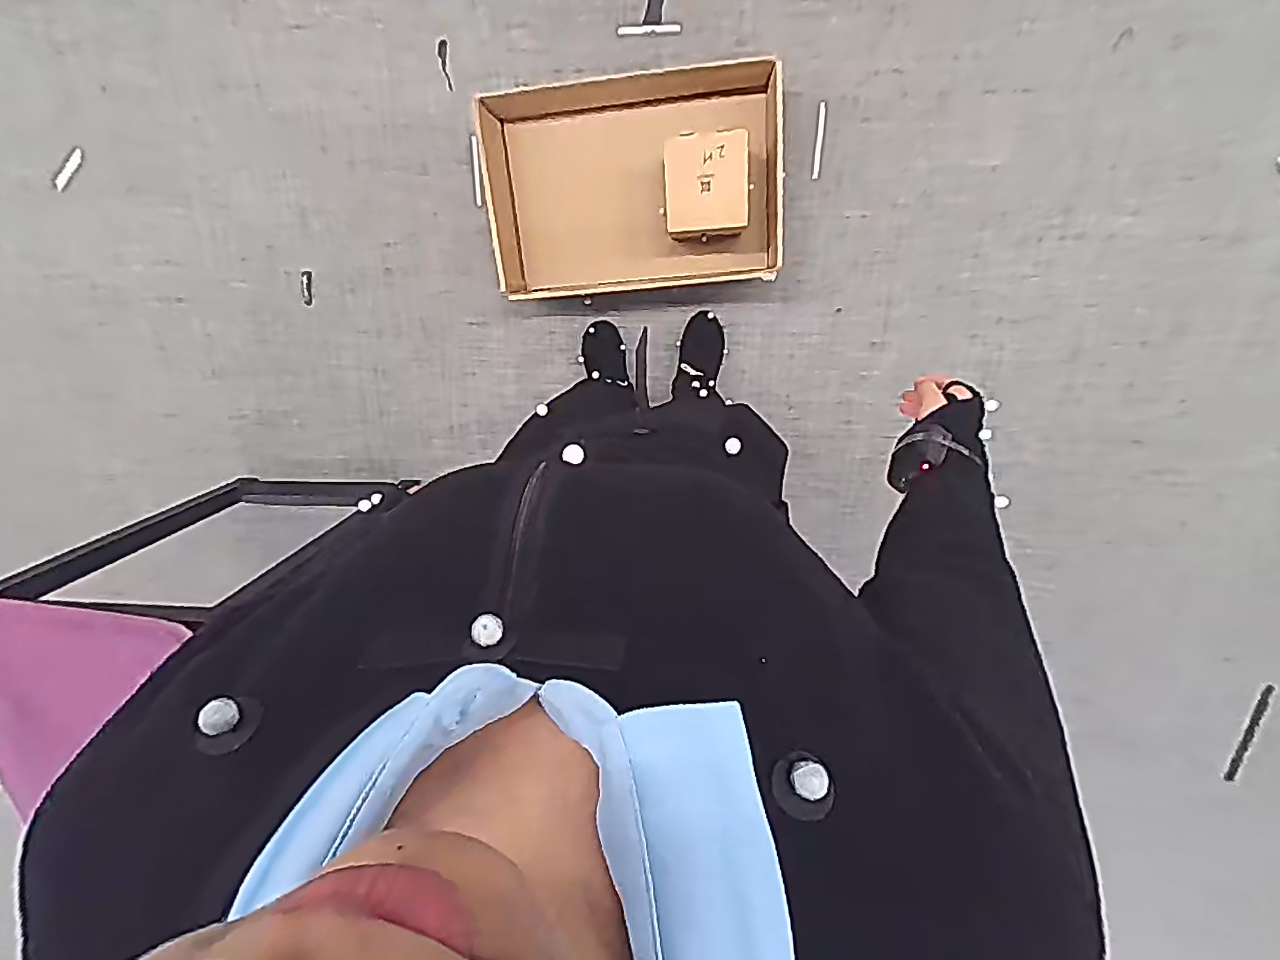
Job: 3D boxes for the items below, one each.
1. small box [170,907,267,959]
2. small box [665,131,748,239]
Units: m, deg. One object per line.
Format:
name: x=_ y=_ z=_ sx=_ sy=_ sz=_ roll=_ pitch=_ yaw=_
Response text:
small box: x=-0.920 y=1.035 z=1.125 sx=0.168 sy=0.176 sz=0.179 roll=2 pitch=109 yaw=5
small box: x=0.141 y=-0.617 z=1.155 sx=0.168 sy=0.176 sz=0.179 roll=-1 pitch=108 yaw=6
